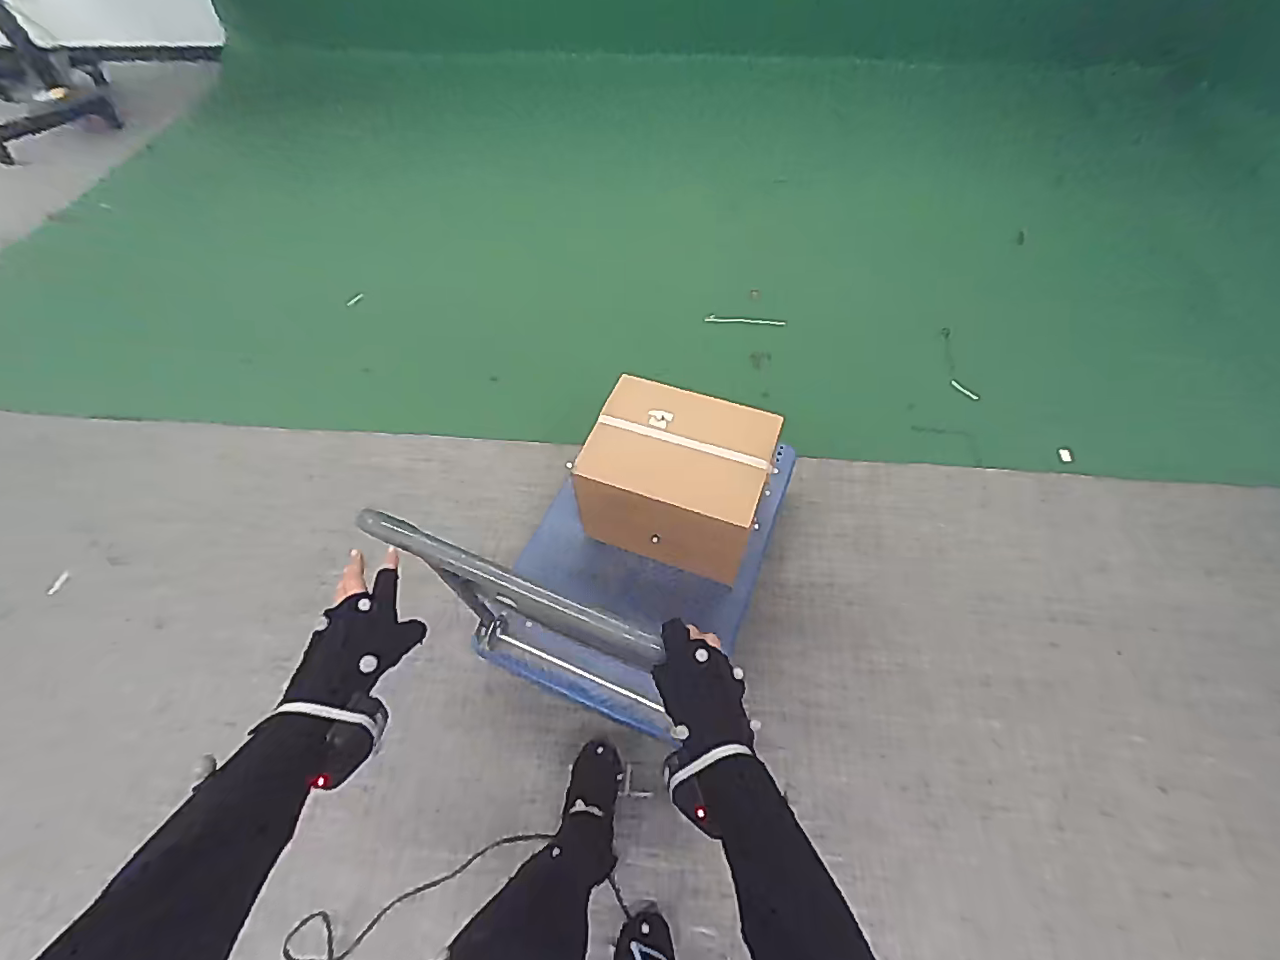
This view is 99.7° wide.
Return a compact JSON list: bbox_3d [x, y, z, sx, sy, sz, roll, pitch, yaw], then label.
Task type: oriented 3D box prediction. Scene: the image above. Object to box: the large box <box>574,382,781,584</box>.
[{"bbox_3d":[0.099,0.012,1.341,0.408,0.320,0.320,17,58,13],"label":"large box"}]
